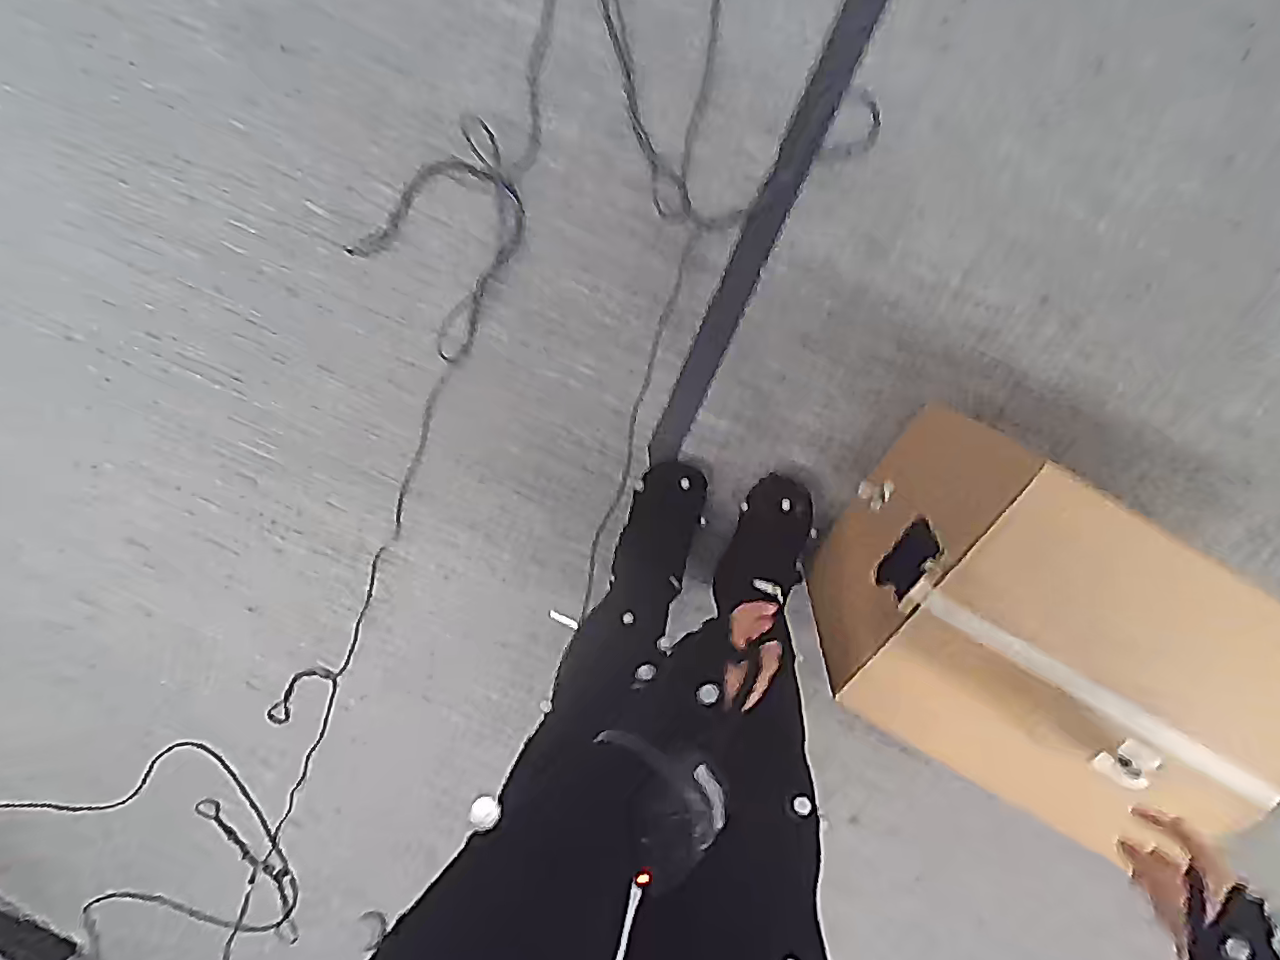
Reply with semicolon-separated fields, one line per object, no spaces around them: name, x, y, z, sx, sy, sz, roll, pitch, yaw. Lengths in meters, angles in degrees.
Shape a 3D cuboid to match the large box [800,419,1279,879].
large box;0.470;0.171;0.673;0.408;0.320;0.320;30;111;-2
